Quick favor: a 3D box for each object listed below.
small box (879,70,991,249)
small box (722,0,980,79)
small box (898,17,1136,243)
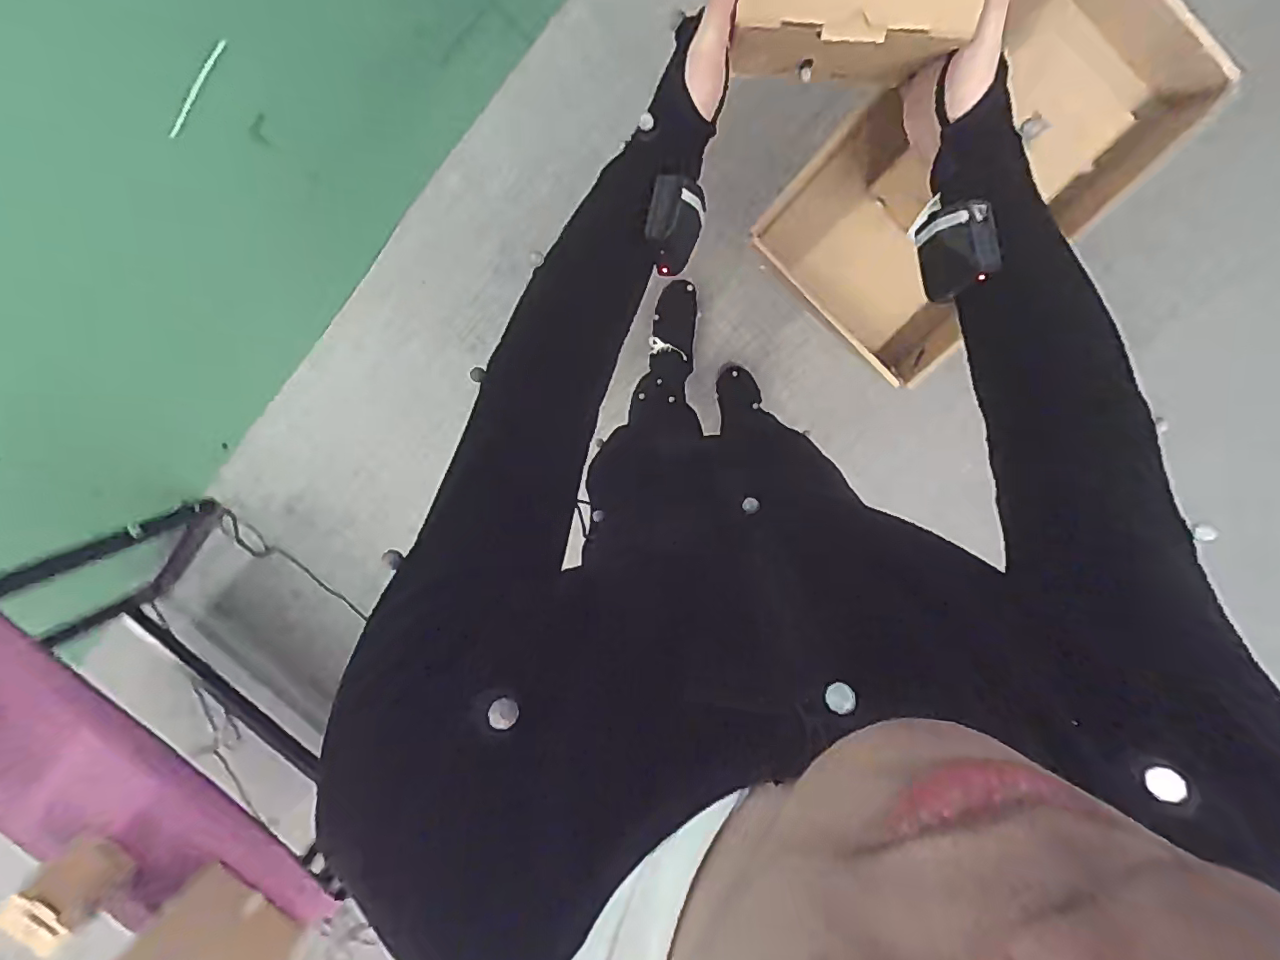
[{"bbox_3d":[0.526,-0.514,0.899,0.168,0.176,0.179,44,107,-7],"label":"small box"},{"bbox_3d":[0.155,-0.426,0.405,0.168,0.176,0.179,4,119,2],"label":"small box"},{"bbox_3d":[0.497,-0.459,0.746,0.168,0.176,0.179,44,107,-6],"label":"small box"}]
